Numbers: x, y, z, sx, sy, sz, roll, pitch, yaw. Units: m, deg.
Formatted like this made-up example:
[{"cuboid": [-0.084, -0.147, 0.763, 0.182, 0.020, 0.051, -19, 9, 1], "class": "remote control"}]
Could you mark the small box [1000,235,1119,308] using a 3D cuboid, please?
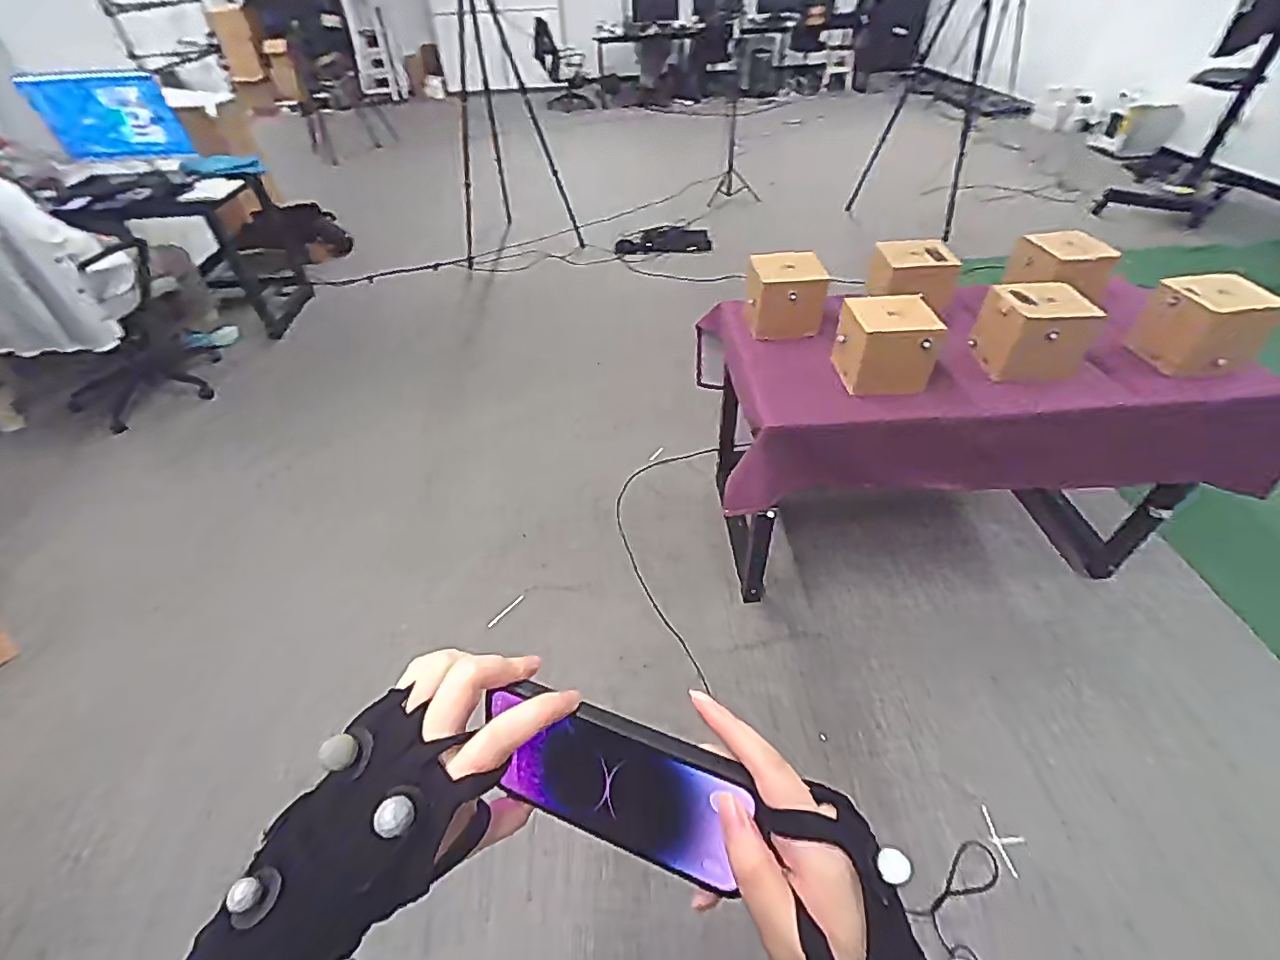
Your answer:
[{"cuboid": [1.136, -0.554, 1.489, 0.168, 0.176, 0.179, -6, 45, -2], "class": "small box"}]

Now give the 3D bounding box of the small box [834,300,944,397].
[{"cuboid": [0.571, -0.307, 1.272, 0.179, 0.176, 0.168, -2, 44, 0], "class": "small box"}]

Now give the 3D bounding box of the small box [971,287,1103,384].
[{"cuboid": [0.922, -0.341, 1.284, 0.179, 0.176, 0.168, -1, 44, 1], "class": "small box"}]

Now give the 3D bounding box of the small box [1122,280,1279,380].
[{"cuboid": [1.312, -0.351, 1.271, 0.179, 0.176, 0.168, -4, 44, -1], "class": "small box"}]
